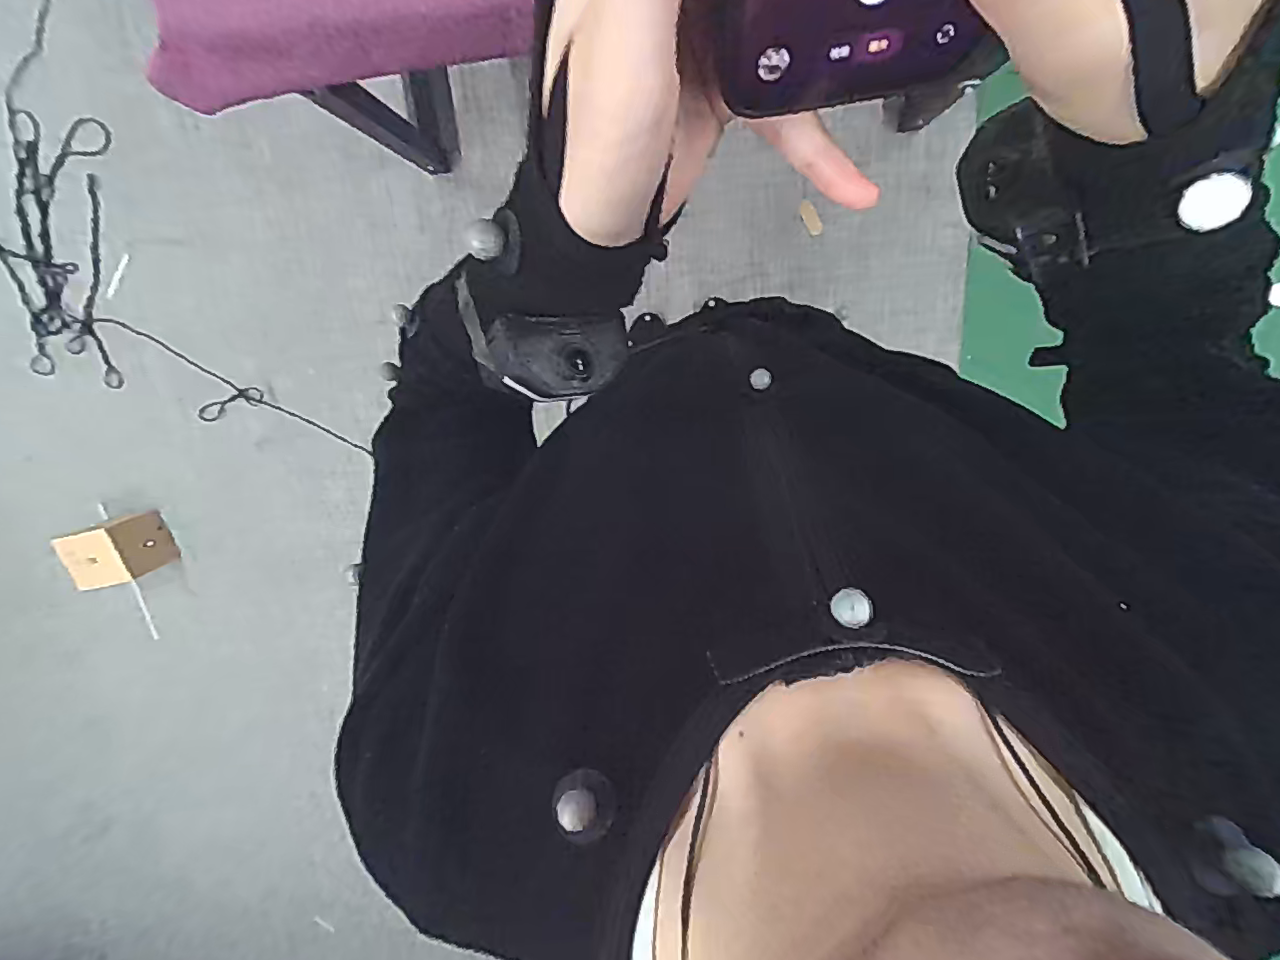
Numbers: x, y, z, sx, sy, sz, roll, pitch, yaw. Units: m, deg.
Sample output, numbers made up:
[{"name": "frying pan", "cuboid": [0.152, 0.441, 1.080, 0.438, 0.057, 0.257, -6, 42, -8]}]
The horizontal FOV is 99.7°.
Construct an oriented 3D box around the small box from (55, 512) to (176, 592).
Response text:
[{"name": "small box", "cuboid": [-1.526, 0.206, 1.592, 0.179, 0.176, 0.168, -11, 105, 7]}]
